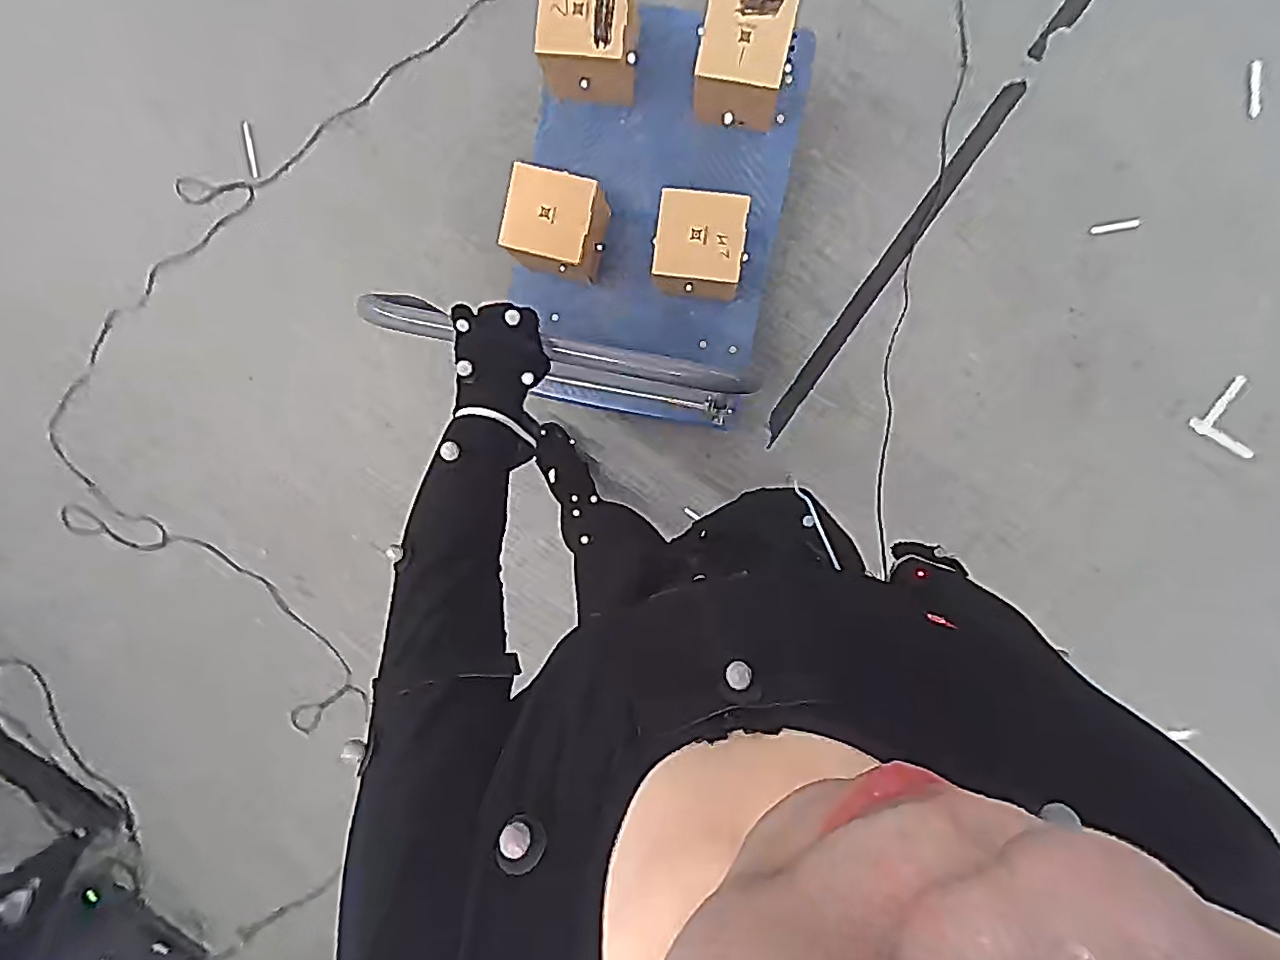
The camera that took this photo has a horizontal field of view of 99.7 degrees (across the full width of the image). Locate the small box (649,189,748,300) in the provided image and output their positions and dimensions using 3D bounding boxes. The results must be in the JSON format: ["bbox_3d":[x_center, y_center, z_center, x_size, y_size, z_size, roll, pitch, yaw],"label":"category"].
[{"bbox_3d":[0.121,-0.487,1.139,0.179,0.176,0.168,9,98,4],"label":"small box"}]

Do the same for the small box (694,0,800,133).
[{"bbox_3d":[0.205,-0.843,1.086,0.168,0.176,0.179,13,99,4],"label":"small box"}]

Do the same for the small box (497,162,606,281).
[{"bbox_3d":[-0.183,-0.544,1.161,0.179,0.176,0.168,14,98,2],"label":"small box"}]
